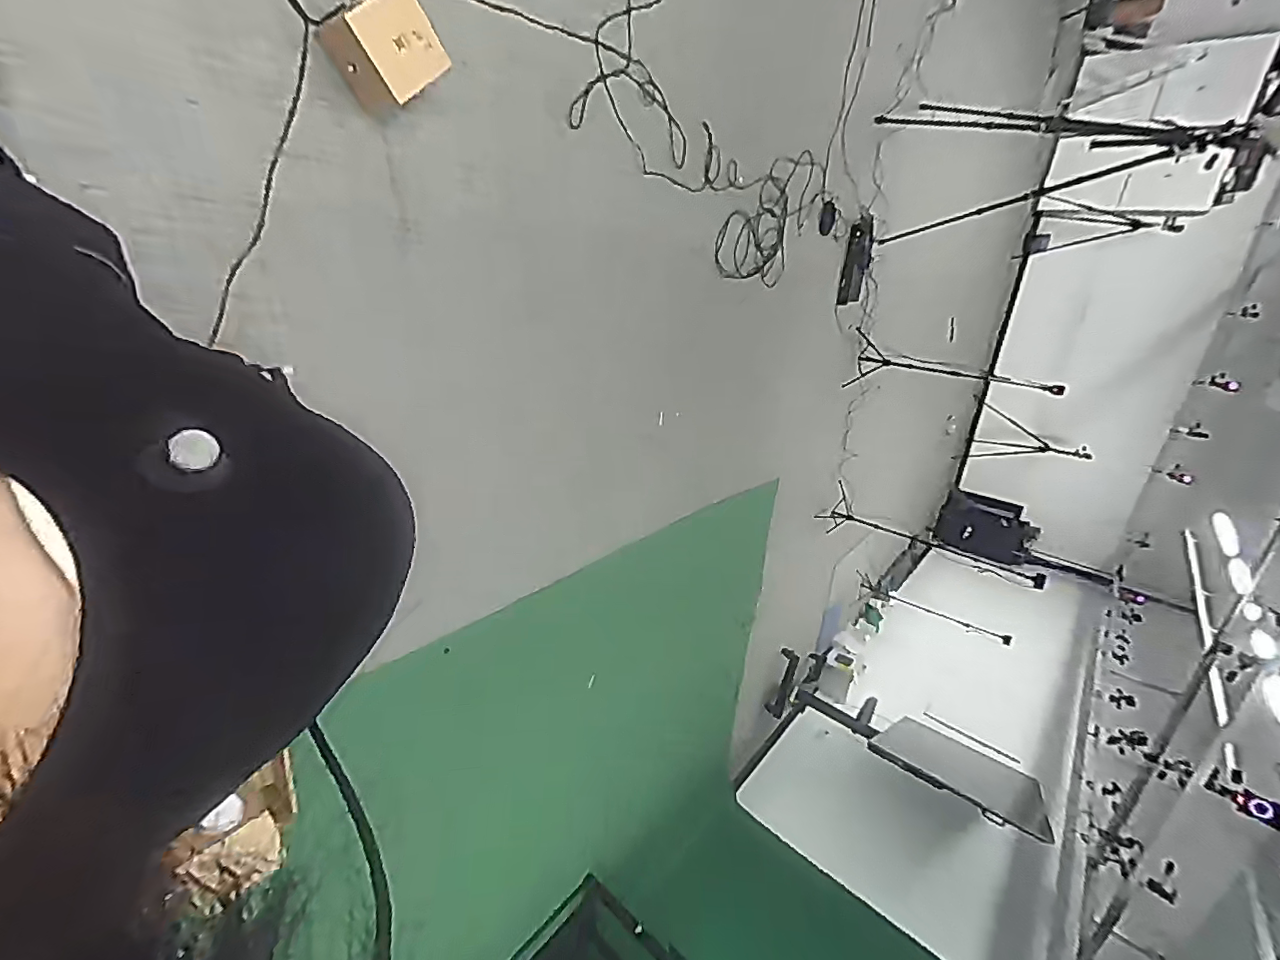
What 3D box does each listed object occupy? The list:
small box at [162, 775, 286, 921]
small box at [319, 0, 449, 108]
[{"bbox_3d":[-0.933,0.815,1.216,0.168,0.176,0.179,-24,122,-42],"label":"small box"},{"bbox_3d":[-0.567,-0.952,1.187,0.179,0.176,0.168,-54,141,-19],"label":"small box"}]
